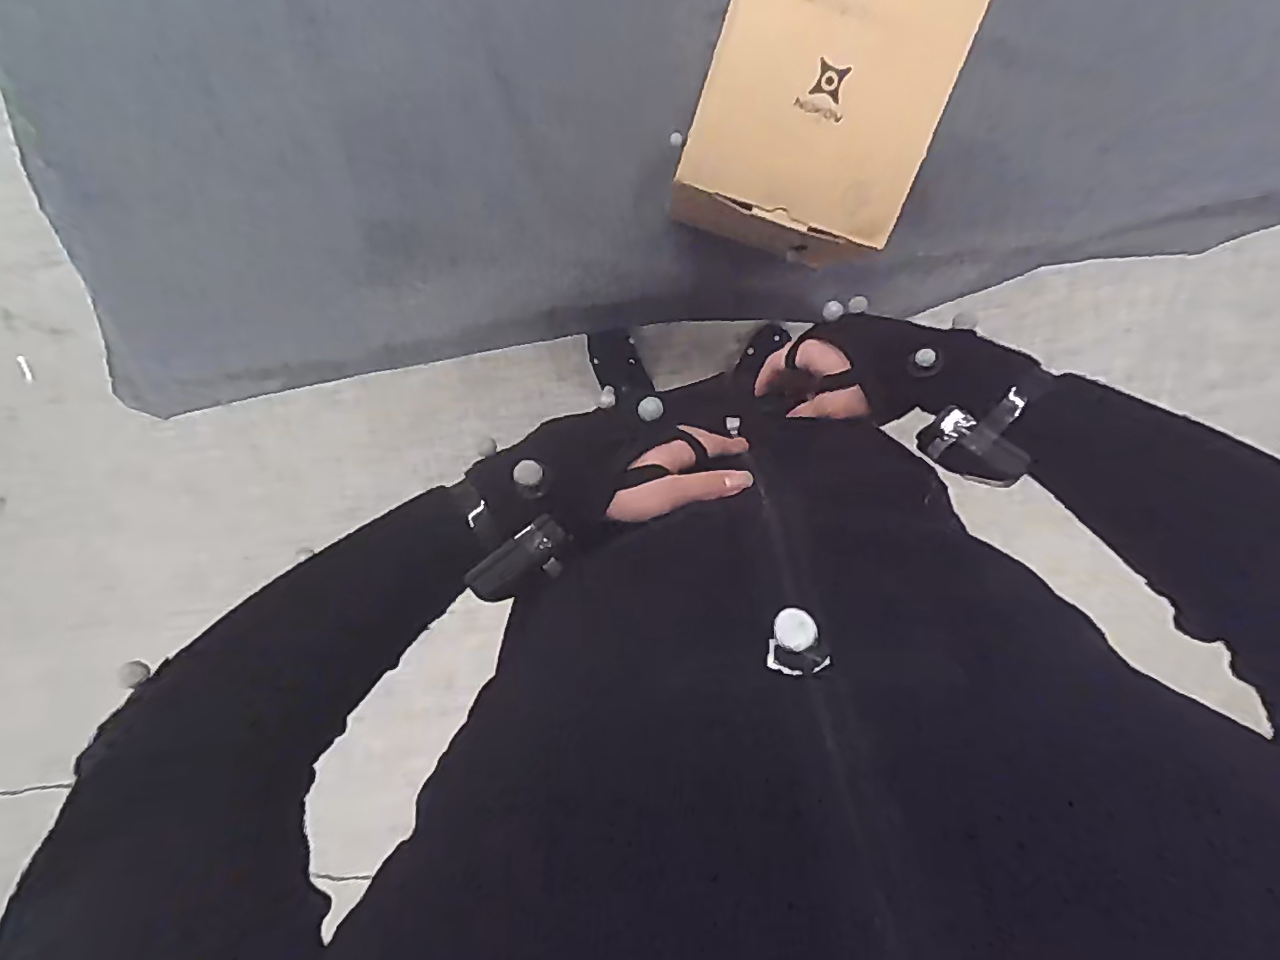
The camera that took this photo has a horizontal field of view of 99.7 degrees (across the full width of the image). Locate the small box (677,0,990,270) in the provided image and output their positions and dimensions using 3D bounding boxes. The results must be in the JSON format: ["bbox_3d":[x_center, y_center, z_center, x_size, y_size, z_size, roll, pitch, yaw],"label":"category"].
[{"bbox_3d":[0.132,-0.288,0.451,0.168,0.176,0.179,16,107,-5],"label":"small box"}]
